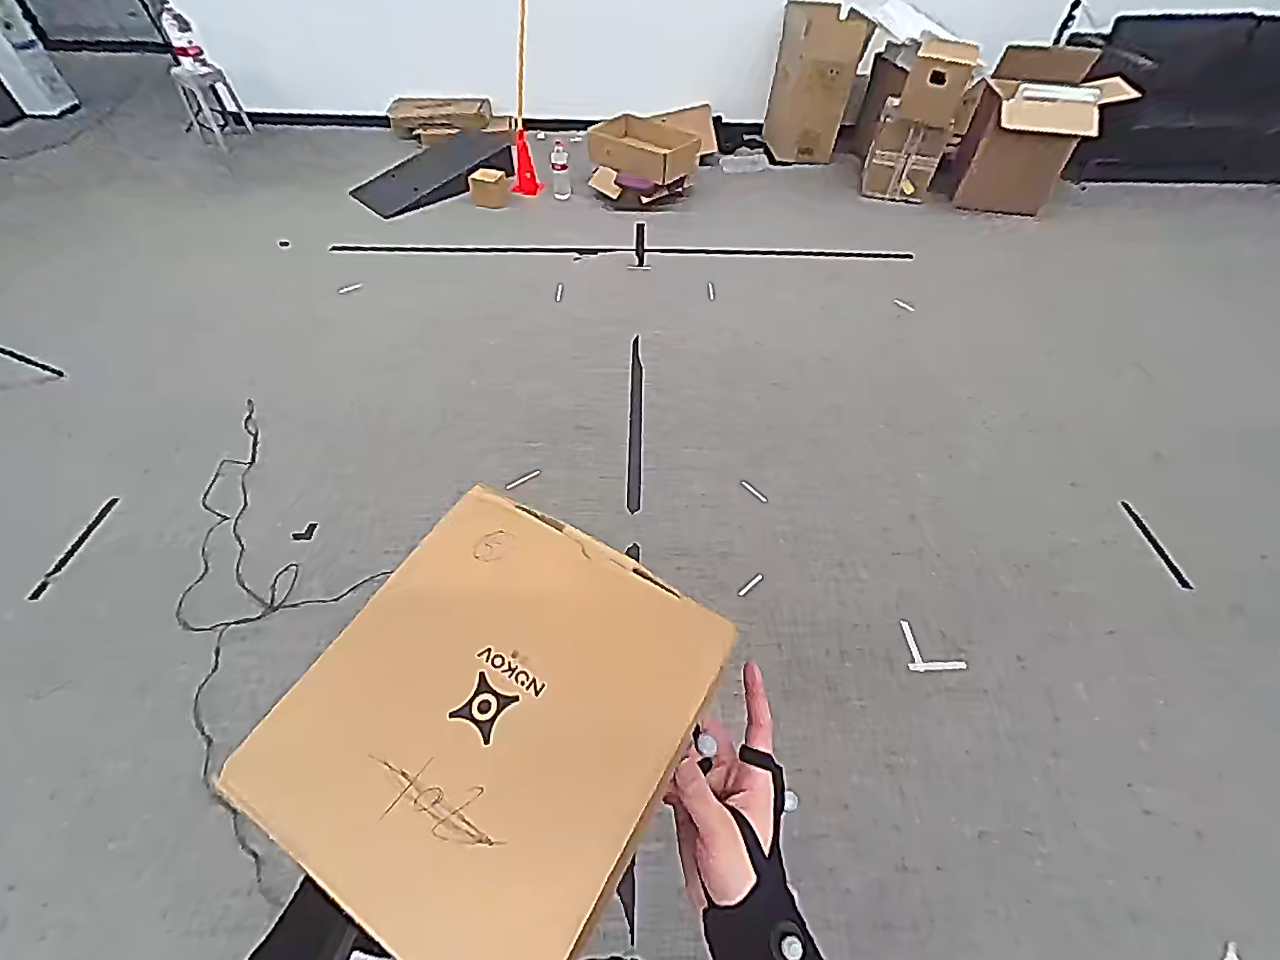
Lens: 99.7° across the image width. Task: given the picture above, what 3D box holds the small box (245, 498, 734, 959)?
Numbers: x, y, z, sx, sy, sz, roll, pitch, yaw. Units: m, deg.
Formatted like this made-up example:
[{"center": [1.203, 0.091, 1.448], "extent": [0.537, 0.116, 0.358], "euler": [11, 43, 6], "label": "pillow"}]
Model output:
[{"center": [-0.062, 0.148, 0.321], "extent": [0.168, 0.176, 0.179], "euler": [25, 62, 18], "label": "small box"}]
